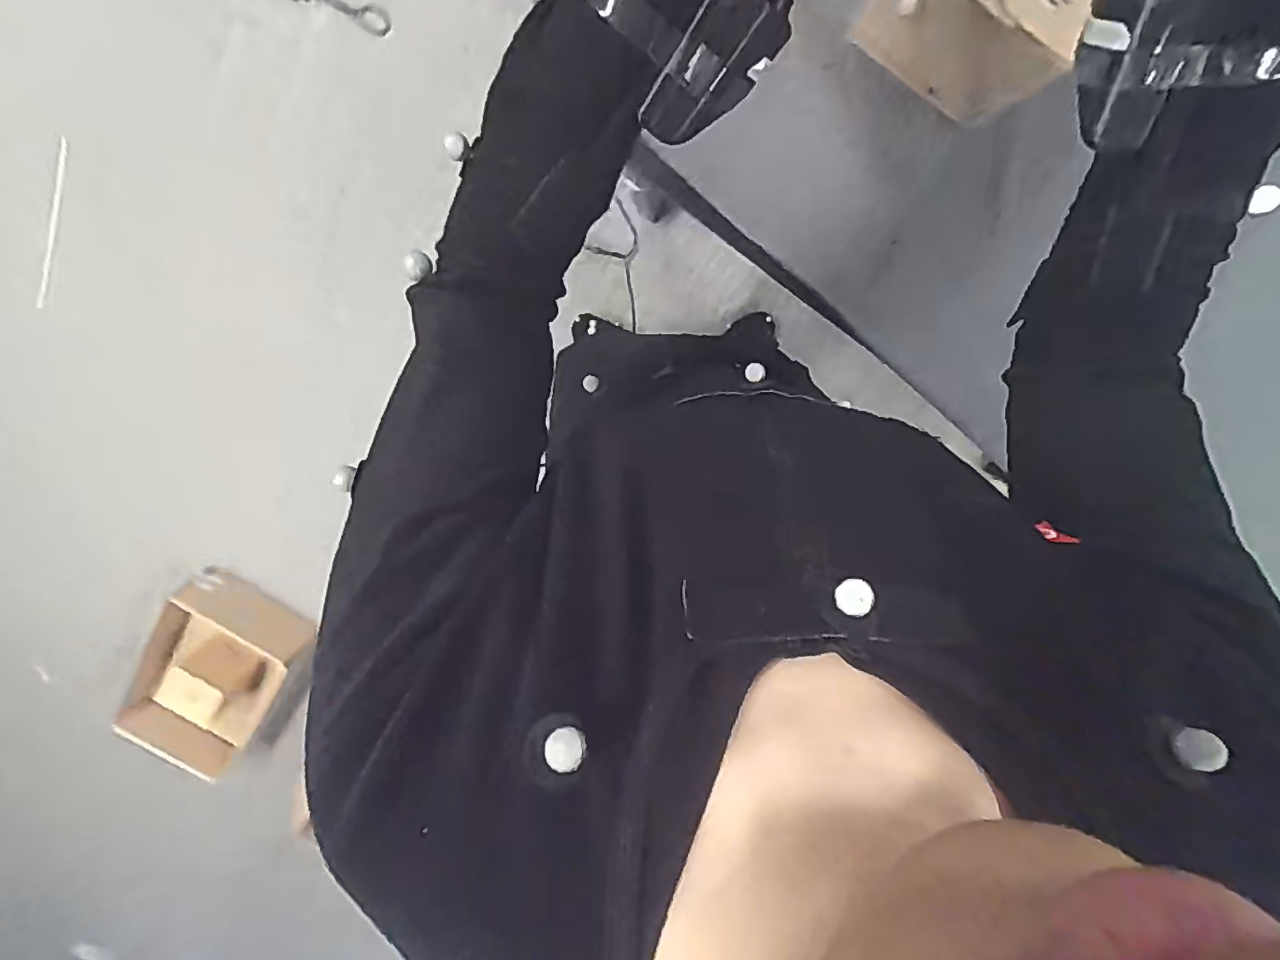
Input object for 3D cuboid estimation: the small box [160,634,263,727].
[{"bbox_3d":[-1.343,0.626,1.706,0.168,0.176,0.179,35,108,-6],"label":"small box"}]
